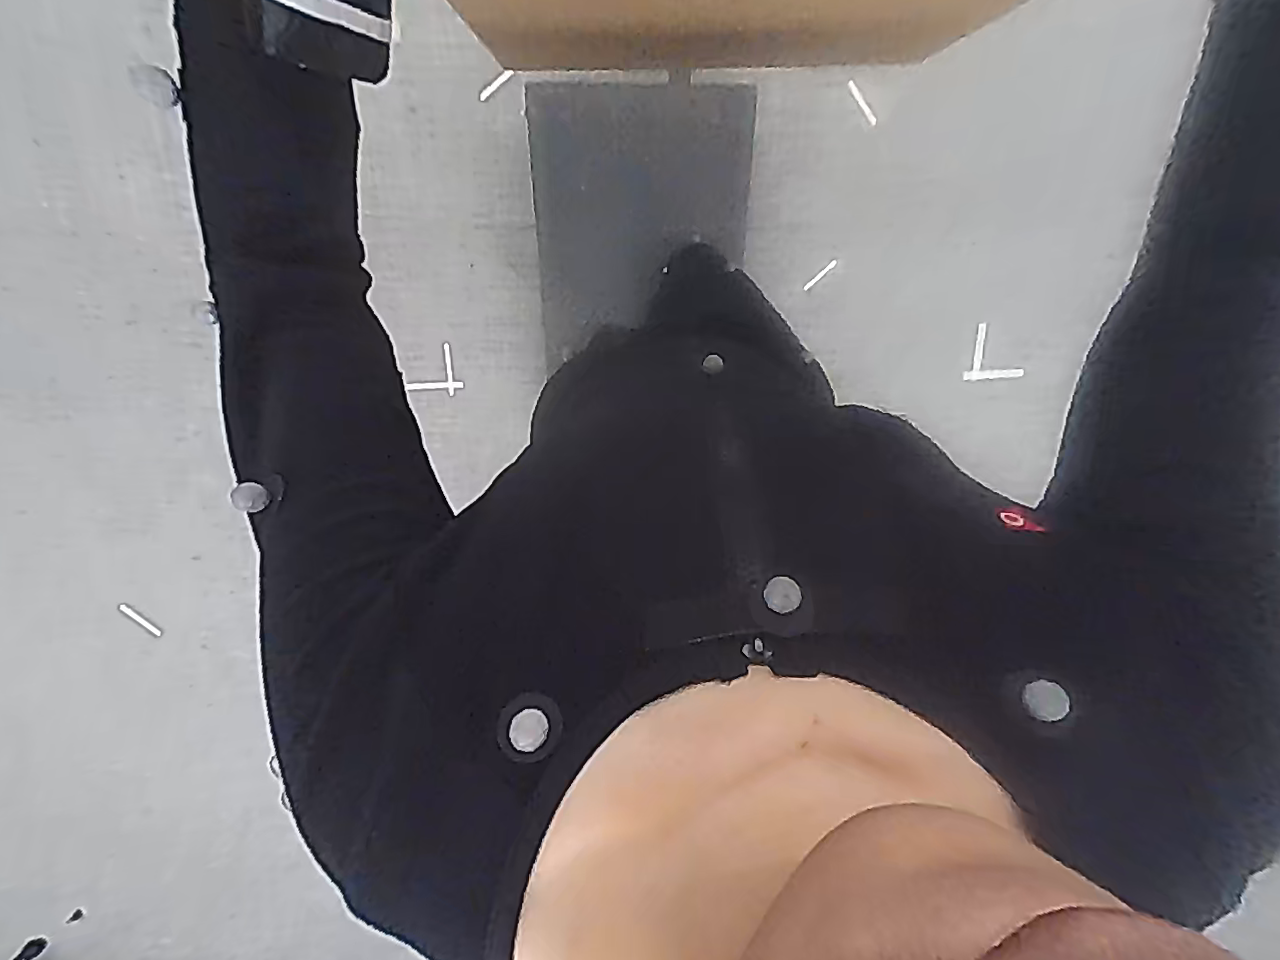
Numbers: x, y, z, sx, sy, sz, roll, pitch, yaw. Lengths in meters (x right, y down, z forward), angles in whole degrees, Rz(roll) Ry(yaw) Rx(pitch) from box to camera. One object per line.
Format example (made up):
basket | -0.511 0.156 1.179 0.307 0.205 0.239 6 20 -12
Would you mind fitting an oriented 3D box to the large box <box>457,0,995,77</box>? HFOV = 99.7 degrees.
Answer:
large box | 0.064 -0.479 0.329 0.408 0.320 0.320 -2 115 0
